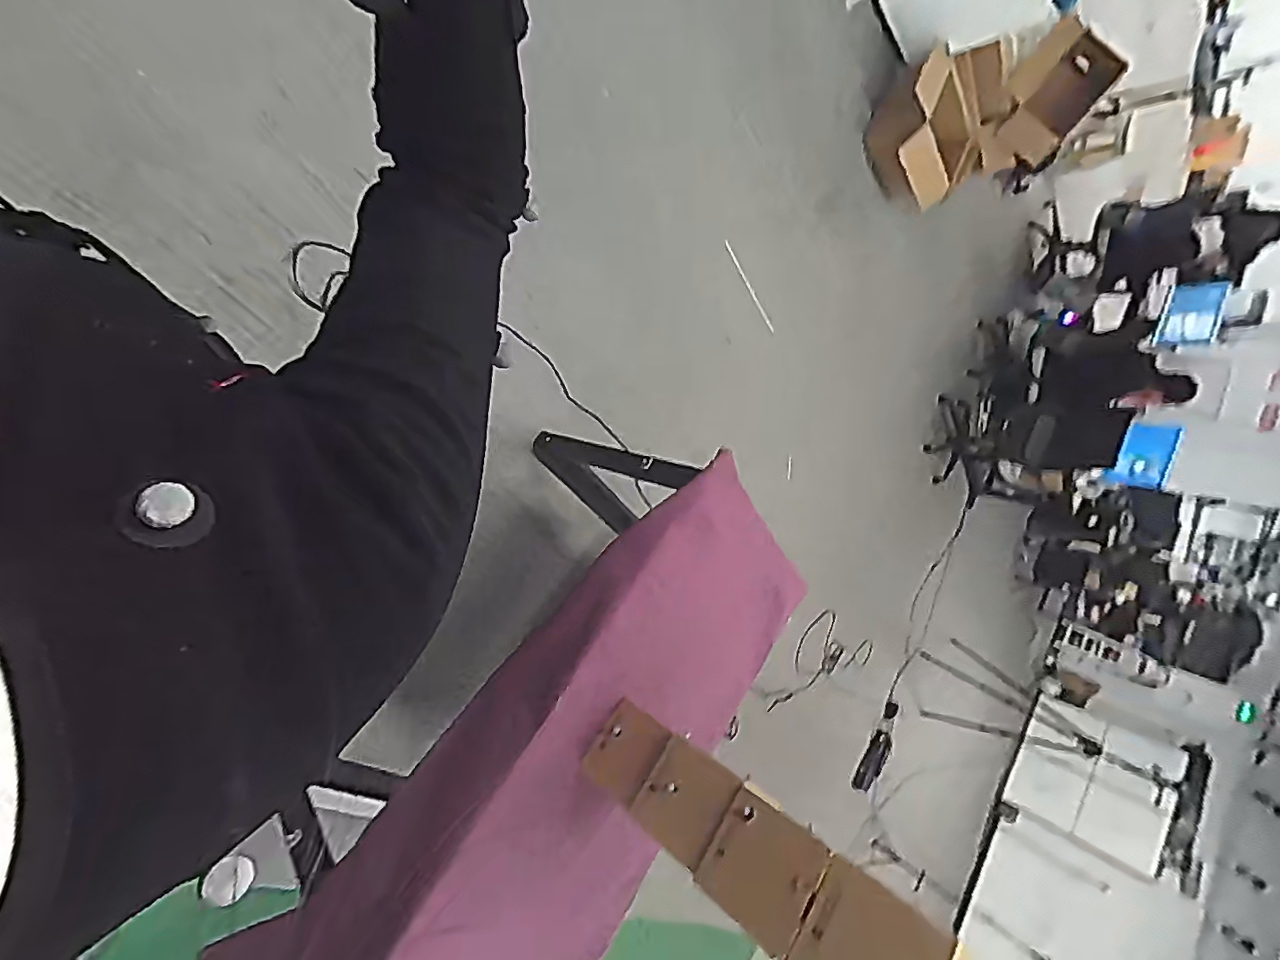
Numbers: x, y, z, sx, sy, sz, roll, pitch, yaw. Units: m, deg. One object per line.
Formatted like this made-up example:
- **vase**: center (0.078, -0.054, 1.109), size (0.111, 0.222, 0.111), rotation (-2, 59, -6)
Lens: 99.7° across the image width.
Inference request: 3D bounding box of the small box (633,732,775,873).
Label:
- **small box**: center (0.122, 0.597, 0.993), size (0.168, 0.176, 0.179), rotation (-55, 130, -19)

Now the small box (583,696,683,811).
- **small box**: center (0.018, 0.579, 1.120), size (0.168, 0.176, 0.179), rotation (-53, 130, -20)

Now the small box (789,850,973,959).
- **small box**: center (0.336, 0.659, 0.753), size (0.168, 0.176, 0.179), rotation (-53, 131, -20)

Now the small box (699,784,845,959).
- **small box**: center (0.224, 0.625, 0.868), size (0.168, 0.176, 0.179), rotation (-54, 131, -19)
